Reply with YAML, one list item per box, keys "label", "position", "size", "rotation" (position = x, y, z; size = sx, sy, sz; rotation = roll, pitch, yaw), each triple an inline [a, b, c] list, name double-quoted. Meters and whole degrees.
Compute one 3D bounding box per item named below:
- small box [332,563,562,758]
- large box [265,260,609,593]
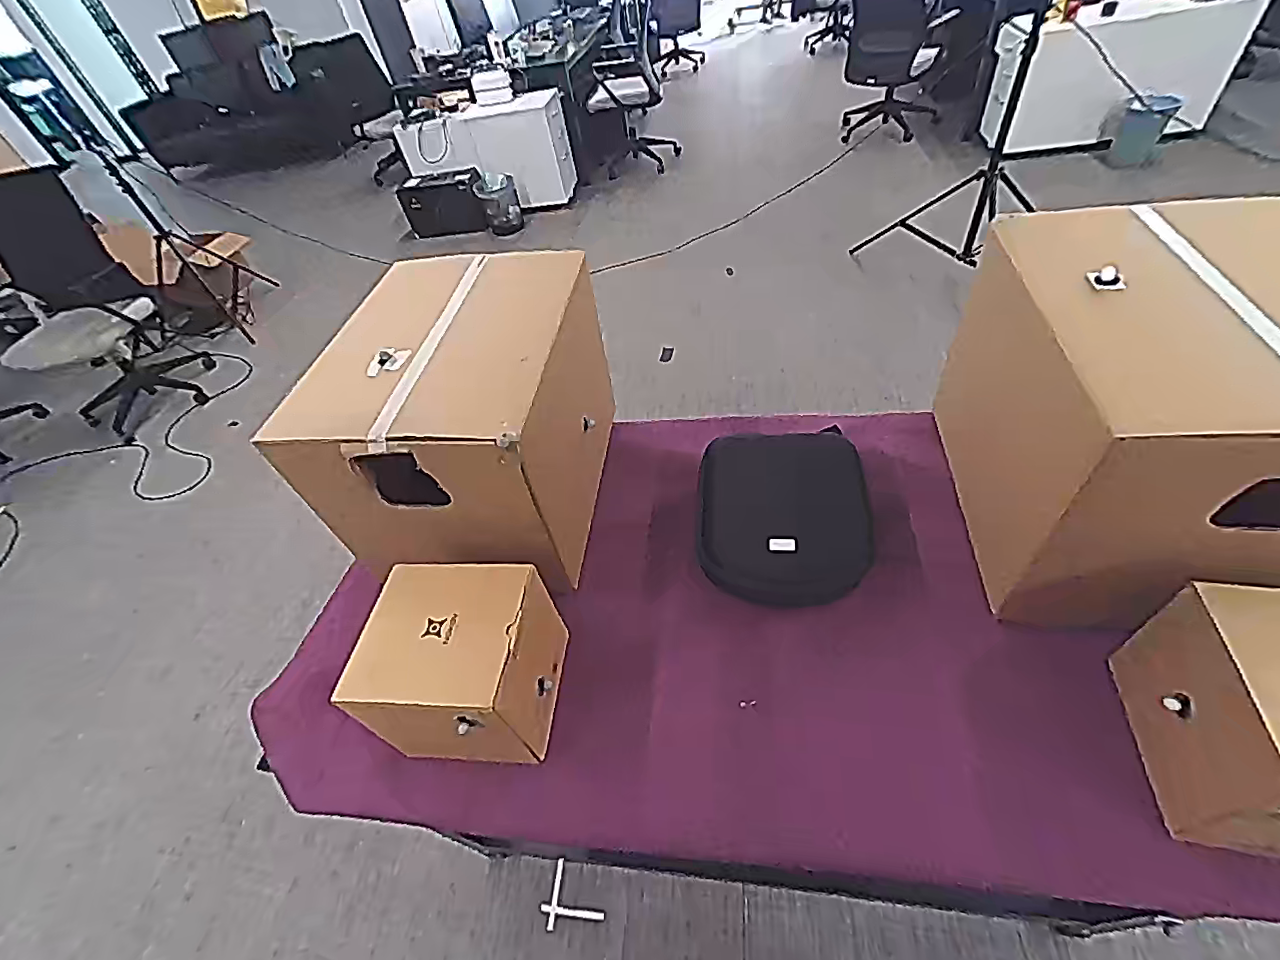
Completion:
- label: "small box"
  position: [-0.206, 0.214, 0.637]
  size: [0.179, 0.176, 0.168]
  rotation: [-2, 46, 8]
- label: "large box"
  position: [-0.237, -0.083, 0.817]
  size: [0.320, 0.320, 0.408]
  rotation: [-1, 50, 9]
